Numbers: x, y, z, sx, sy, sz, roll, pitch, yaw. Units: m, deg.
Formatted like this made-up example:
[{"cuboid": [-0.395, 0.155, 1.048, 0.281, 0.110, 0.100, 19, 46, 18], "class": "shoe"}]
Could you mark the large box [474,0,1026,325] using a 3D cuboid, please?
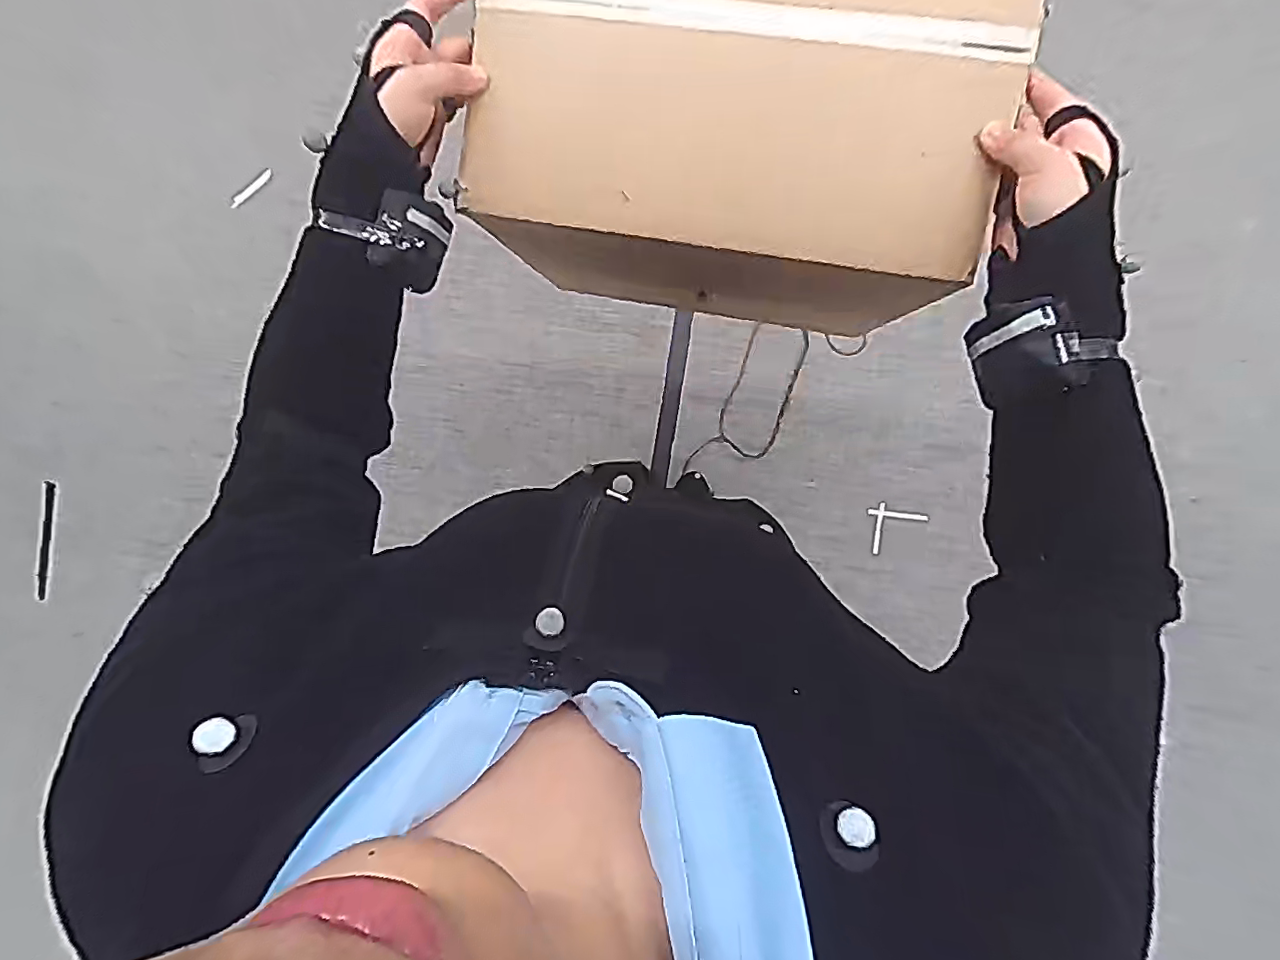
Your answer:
[{"cuboid": [0.095, -0.356, 0.557, 0.408, 0.320, 0.320, 10, 98, 6], "class": "large box"}]
